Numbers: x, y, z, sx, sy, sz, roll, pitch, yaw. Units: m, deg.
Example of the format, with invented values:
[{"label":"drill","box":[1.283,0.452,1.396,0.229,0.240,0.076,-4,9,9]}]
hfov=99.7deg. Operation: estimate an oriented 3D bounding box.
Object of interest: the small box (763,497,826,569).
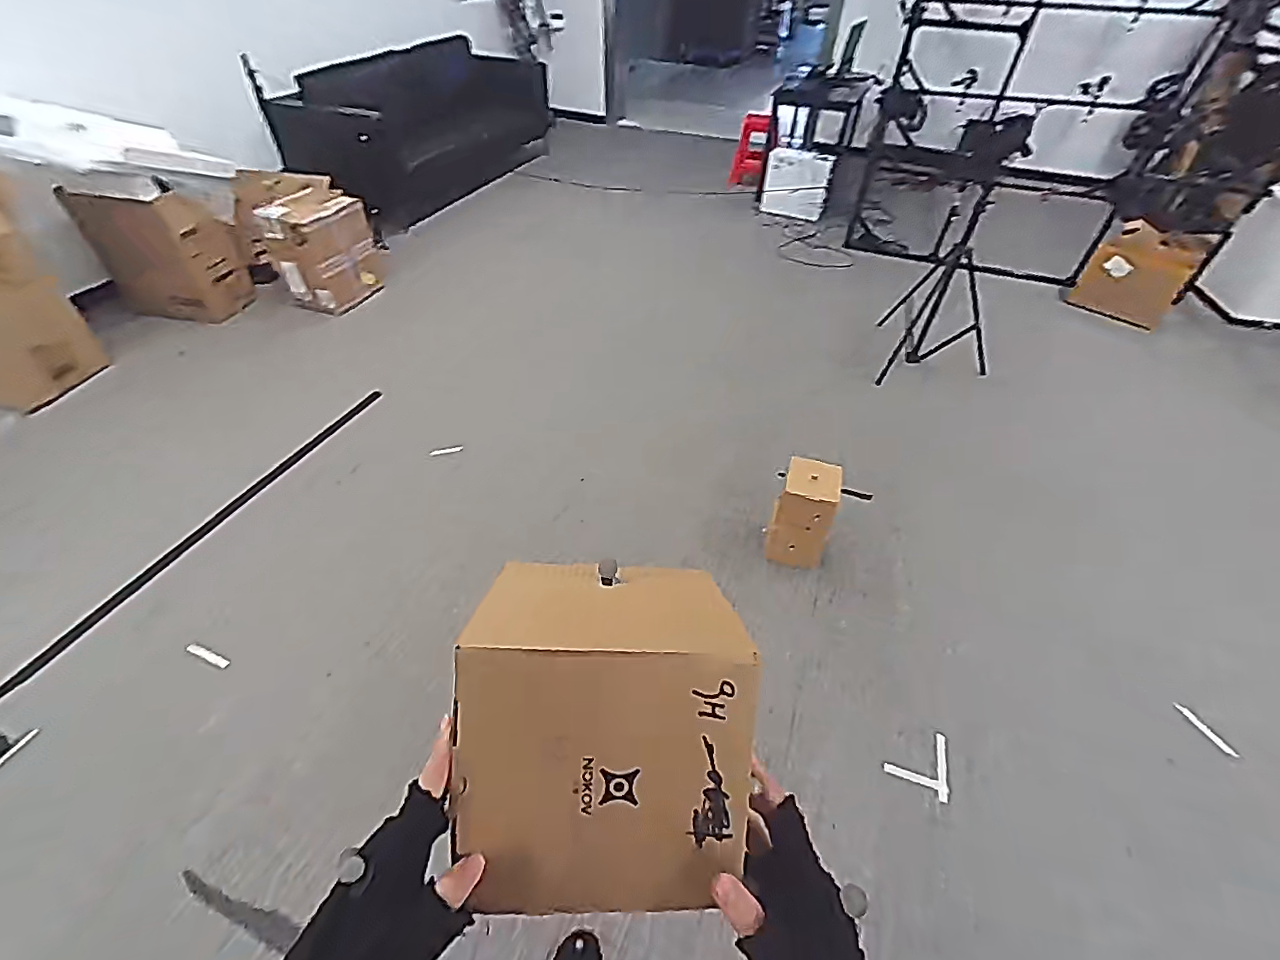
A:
[{"label":"small box","box":[0.530,0.185,1.859,0.179,0.176,0.168,10,45,9]}]

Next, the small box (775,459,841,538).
[{"label":"small box","box":[0.542,0.063,1.753,0.168,0.176,0.179,14,45,10]}]

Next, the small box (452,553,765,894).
[{"label":"small box","box":[-0.023,0.154,0.394,0.179,0.168,0.176,3,6,-3]}]
